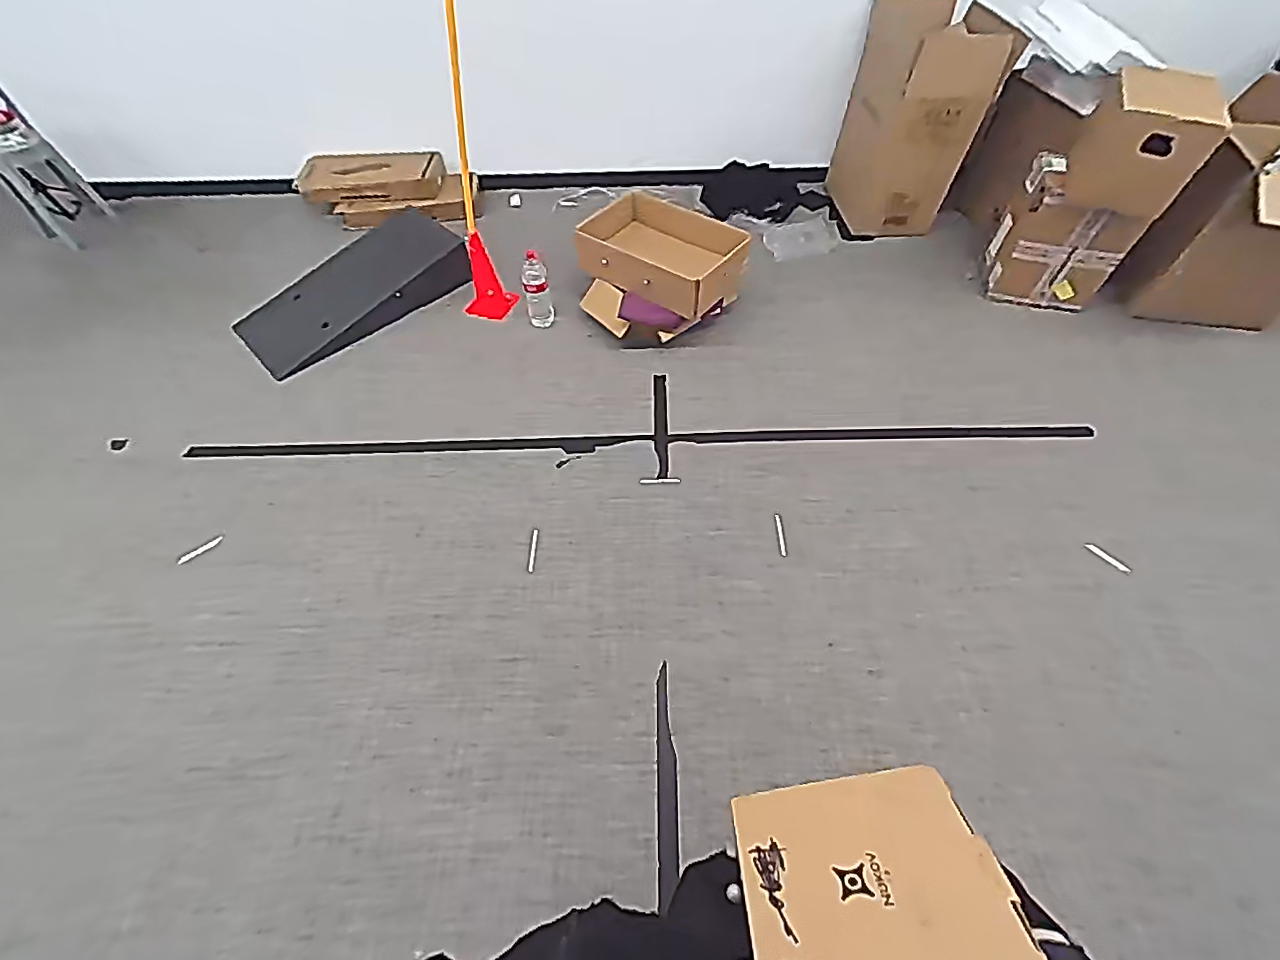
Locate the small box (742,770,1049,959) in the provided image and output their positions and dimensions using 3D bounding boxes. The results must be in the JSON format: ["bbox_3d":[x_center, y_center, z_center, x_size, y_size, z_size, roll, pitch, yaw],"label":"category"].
[{"bbox_3d":[0.188,0.366,0.421,0.179,0.176,0.168,-12,19,6],"label":"small box"}]
